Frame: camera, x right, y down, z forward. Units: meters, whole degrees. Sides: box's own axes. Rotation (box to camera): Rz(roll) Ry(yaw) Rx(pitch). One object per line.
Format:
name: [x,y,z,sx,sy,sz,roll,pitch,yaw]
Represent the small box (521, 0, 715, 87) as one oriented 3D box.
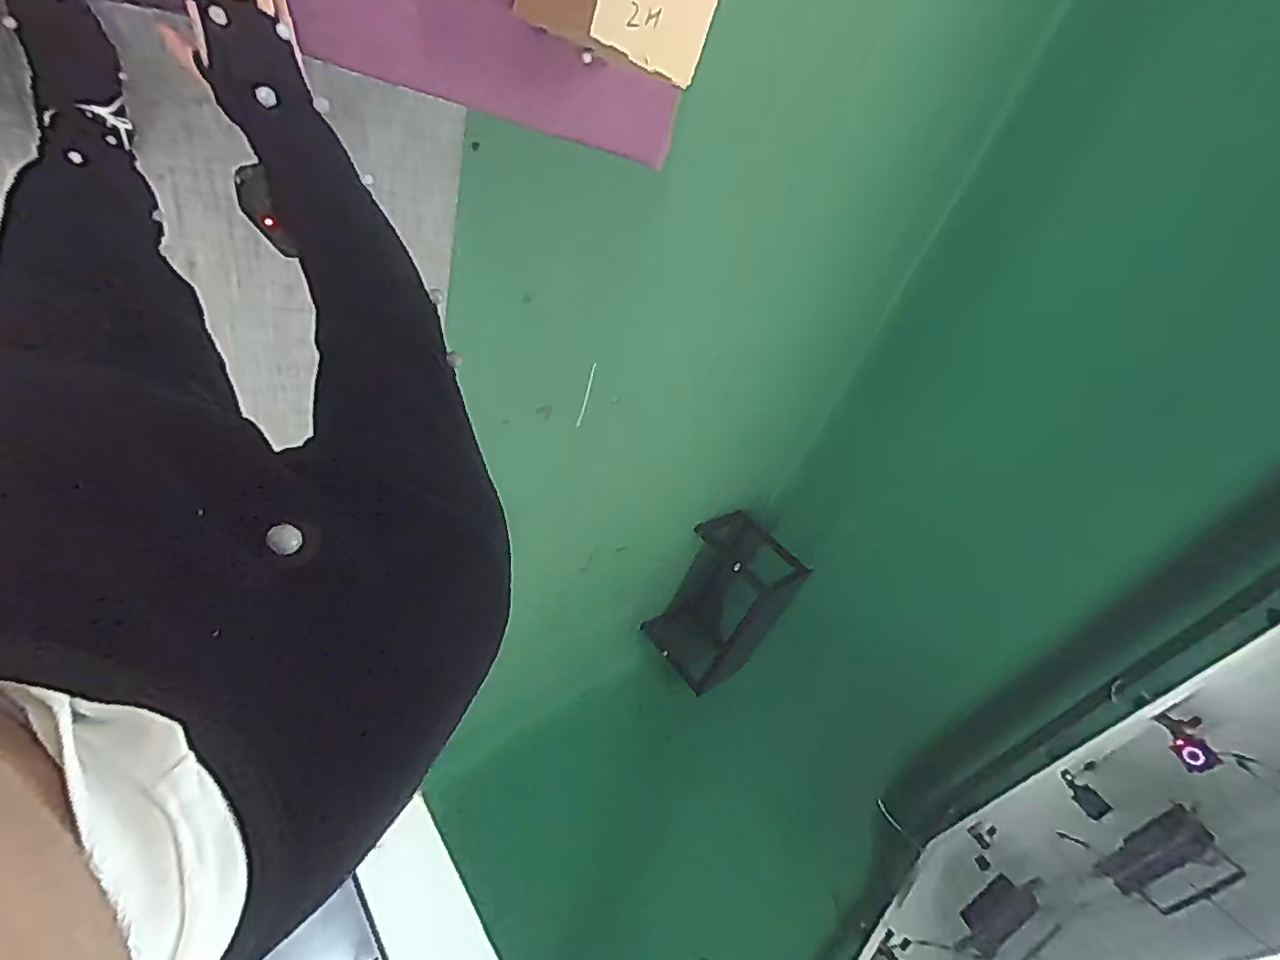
small box: [-0.020,-0.608,0.631,0.168,0.176,0.179,-11,136,-44]
